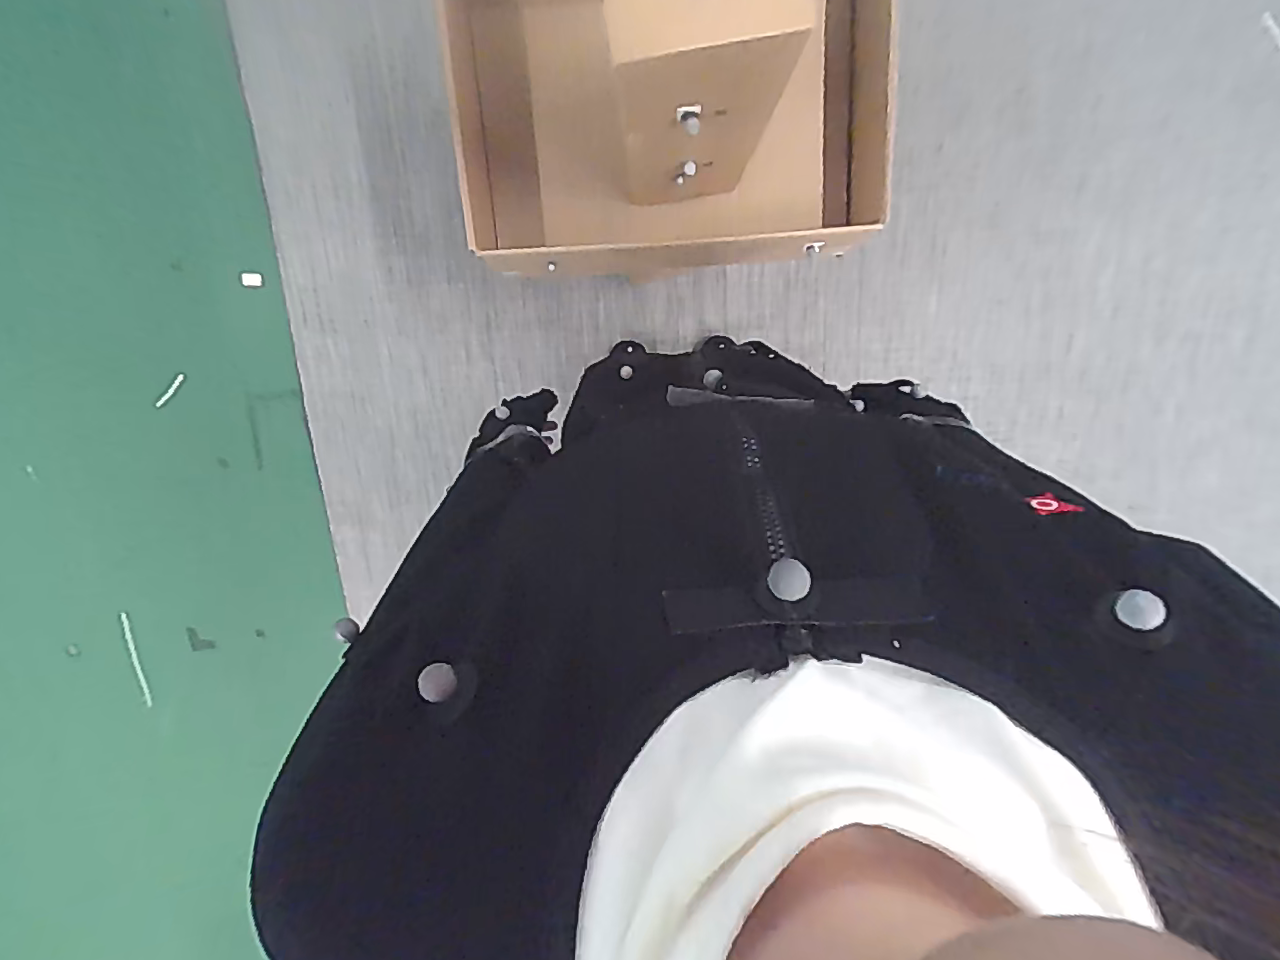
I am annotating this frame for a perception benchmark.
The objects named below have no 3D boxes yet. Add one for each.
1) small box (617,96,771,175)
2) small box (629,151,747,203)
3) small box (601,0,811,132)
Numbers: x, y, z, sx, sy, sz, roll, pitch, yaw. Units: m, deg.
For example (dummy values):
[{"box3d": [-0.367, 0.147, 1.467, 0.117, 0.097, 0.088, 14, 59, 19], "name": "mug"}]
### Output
[{"box3d": [0.052, -0.493, 0.646, 0.168, 0.176, 0.179, -7, 104, 4], "name": "small box"}, {"box3d": [0.059, -0.538, 0.803, 0.168, 0.176, 0.179, -7, 103, 5], "name": "small box"}, {"box3d": [0.047, -0.453, 0.490, 0.168, 0.176, 0.179, -7, 105, 5], "name": "small box"}]
